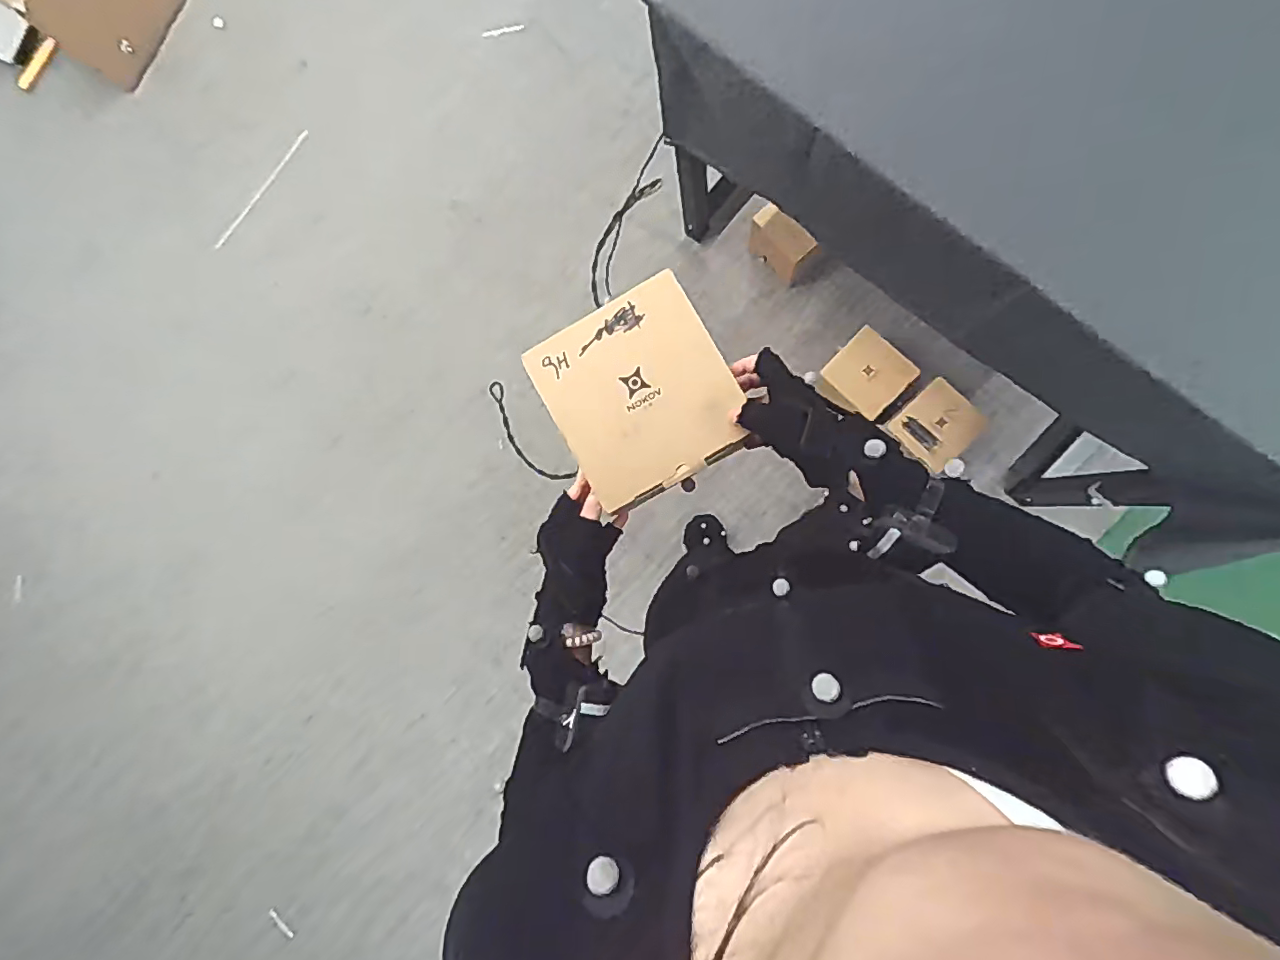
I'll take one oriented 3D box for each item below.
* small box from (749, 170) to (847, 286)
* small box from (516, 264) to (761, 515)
[{"bbox_3d":[0.401,-0.647,1.410,0.179,0.176,0.168,-40,82,3],"label":"small box"},{"bbox_3d":[0.004,-0.081,0.564,0.168,0.176,0.179,-30,87,3],"label":"small box"}]
